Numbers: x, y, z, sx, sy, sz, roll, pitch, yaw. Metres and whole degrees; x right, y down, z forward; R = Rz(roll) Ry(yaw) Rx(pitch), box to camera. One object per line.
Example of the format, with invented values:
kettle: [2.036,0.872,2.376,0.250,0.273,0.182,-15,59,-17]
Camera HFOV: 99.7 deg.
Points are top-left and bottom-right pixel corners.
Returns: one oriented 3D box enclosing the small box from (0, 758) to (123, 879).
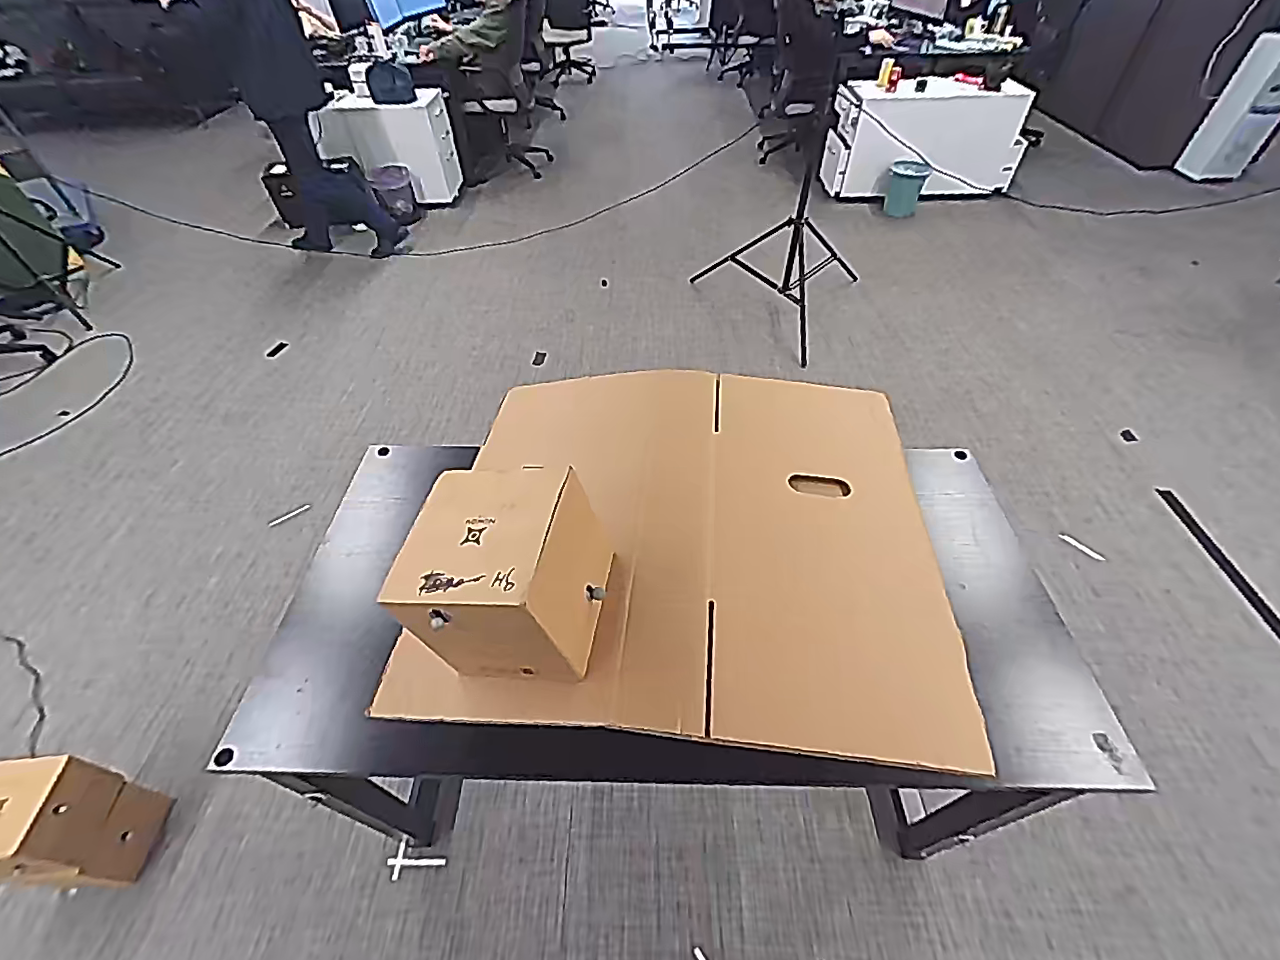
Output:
small box: [-1.226,0.692,1.099,0.168,0.176,0.179,-5,47,-4]

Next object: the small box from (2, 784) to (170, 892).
small box: [-1.221,0.805,1.215,0.168,0.176,0.179,-3,48,-1]

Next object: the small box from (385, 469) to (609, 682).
small box: [-0.143,0.108,0.622,0.168,0.176,0.179,-3,46,17]
